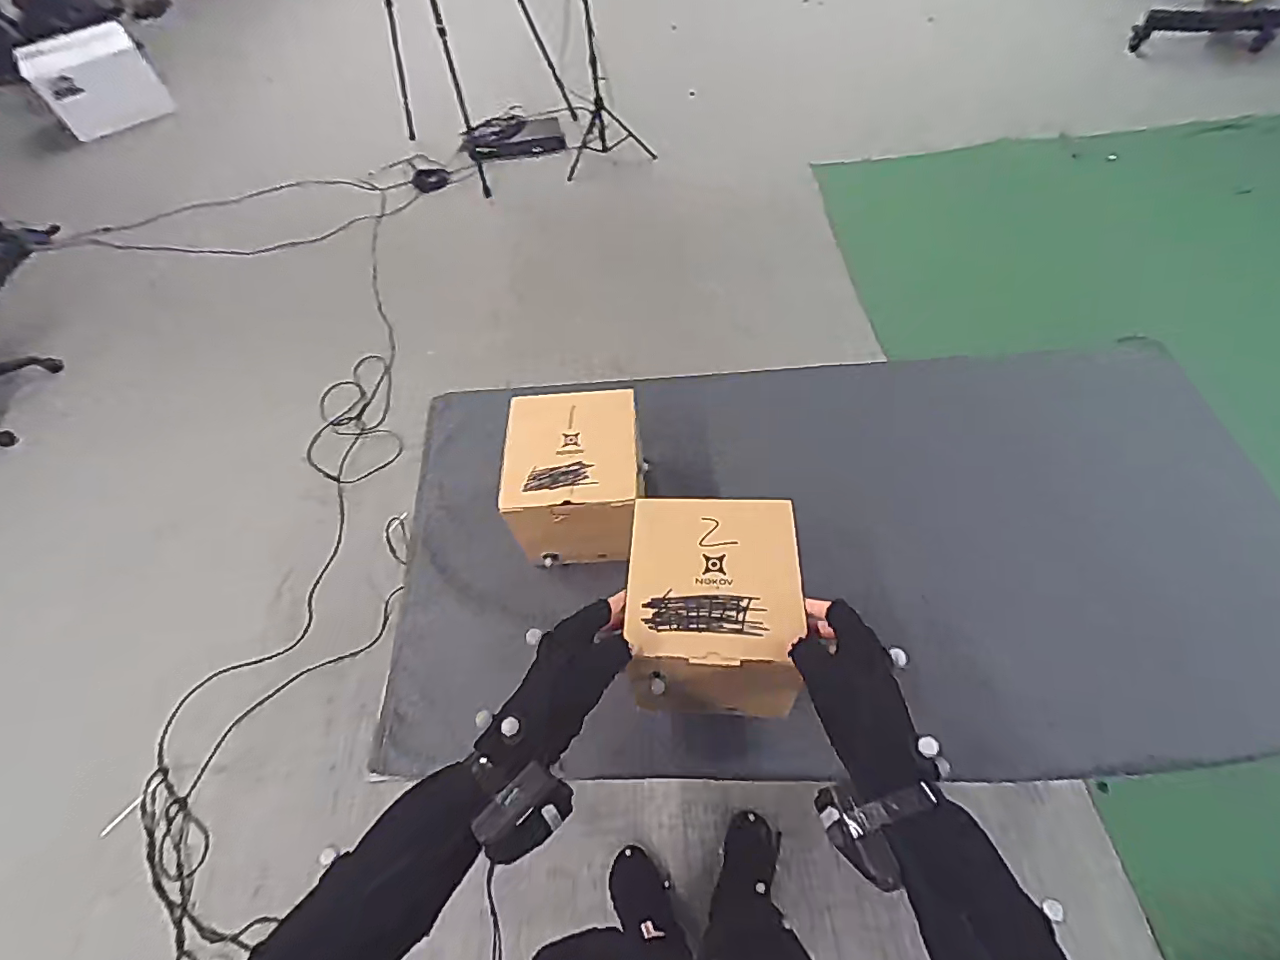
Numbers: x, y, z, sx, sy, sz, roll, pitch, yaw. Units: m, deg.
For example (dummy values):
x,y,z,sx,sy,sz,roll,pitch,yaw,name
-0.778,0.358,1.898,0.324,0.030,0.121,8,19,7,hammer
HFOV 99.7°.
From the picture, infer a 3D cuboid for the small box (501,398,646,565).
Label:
x,y,z,sx,sy,sz,roll,pitch,yaw,name
-0.080,0.011,0.748,0.168,0.176,0.179,-3,57,2,small box
